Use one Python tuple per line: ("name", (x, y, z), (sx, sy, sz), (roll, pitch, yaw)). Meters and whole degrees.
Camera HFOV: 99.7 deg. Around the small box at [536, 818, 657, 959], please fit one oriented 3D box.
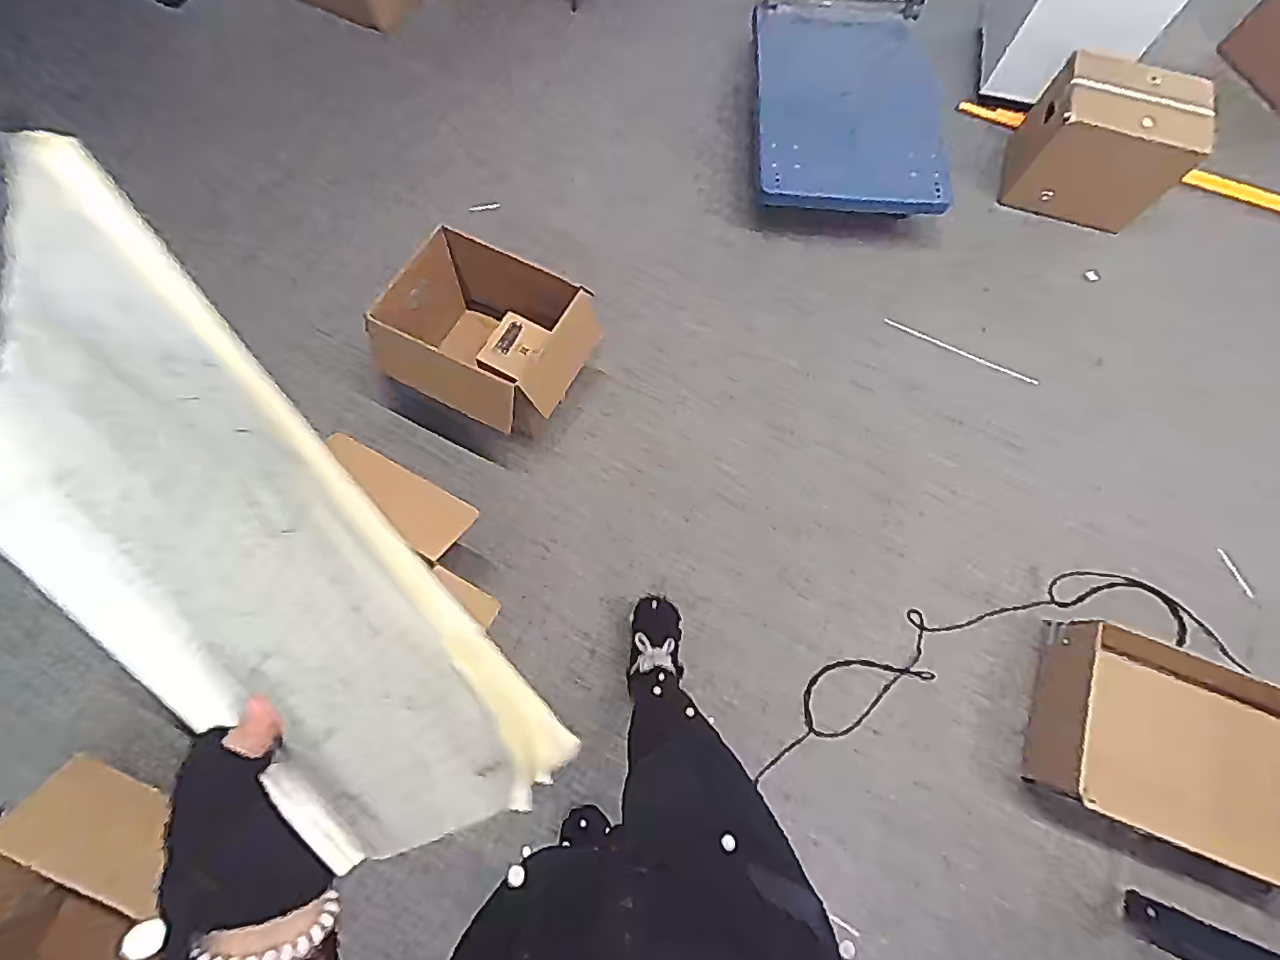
("small box", (-0.091, 0.827, 1.112), (0.179, 0.176, 0.168), (12, 70, 28))
